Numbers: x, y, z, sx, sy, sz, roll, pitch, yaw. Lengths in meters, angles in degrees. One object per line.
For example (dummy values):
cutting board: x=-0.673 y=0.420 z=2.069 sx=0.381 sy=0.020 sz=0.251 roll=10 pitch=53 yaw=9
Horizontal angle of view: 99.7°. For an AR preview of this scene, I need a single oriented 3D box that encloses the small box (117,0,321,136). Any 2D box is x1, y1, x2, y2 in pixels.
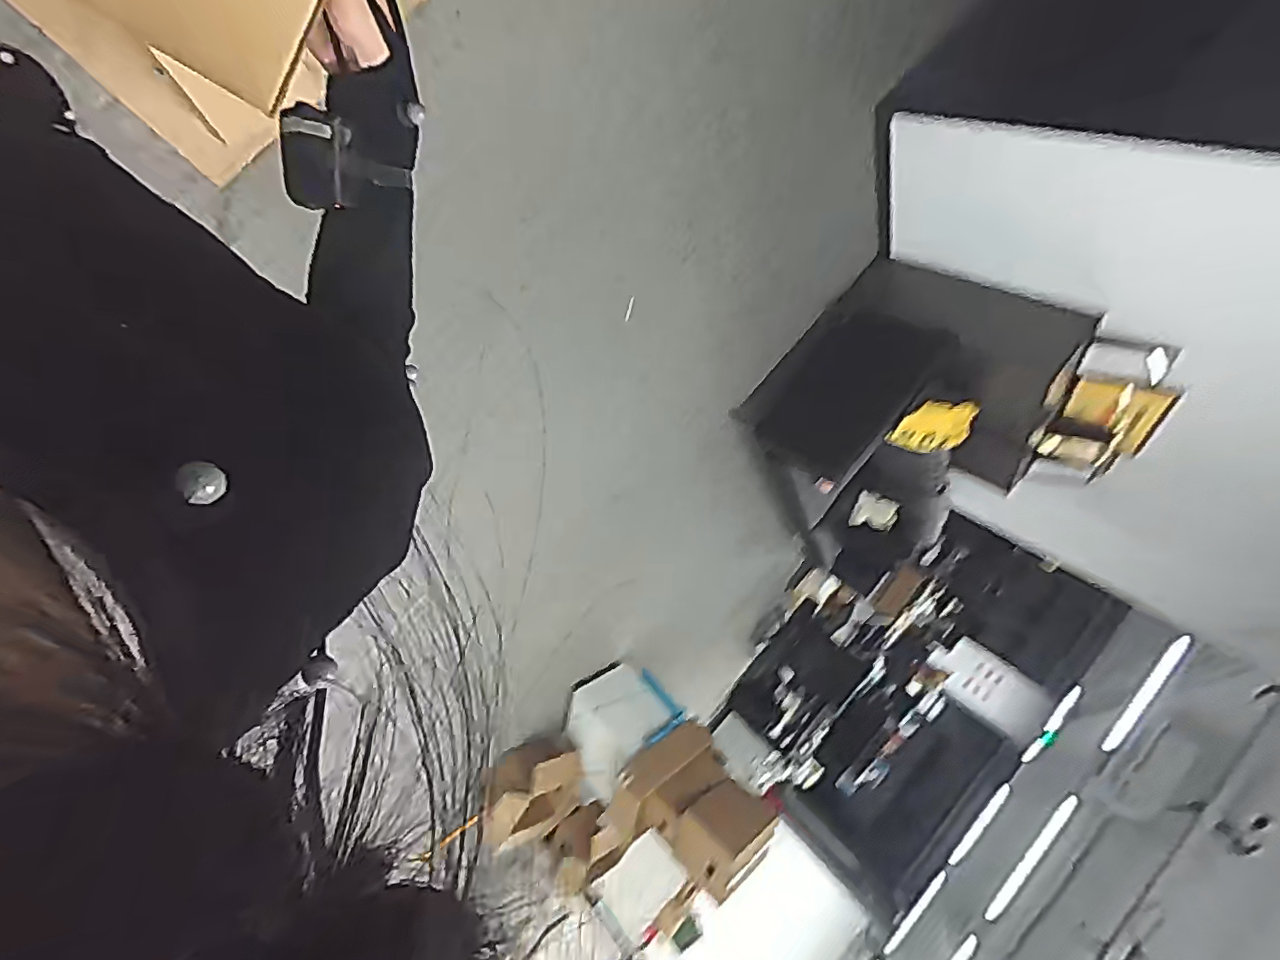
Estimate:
small box: x=-0.645 y=-0.668 z=0.830 sx=0.179 sy=0.176 sz=0.168 roll=-41 pitch=145 yaw=-15
